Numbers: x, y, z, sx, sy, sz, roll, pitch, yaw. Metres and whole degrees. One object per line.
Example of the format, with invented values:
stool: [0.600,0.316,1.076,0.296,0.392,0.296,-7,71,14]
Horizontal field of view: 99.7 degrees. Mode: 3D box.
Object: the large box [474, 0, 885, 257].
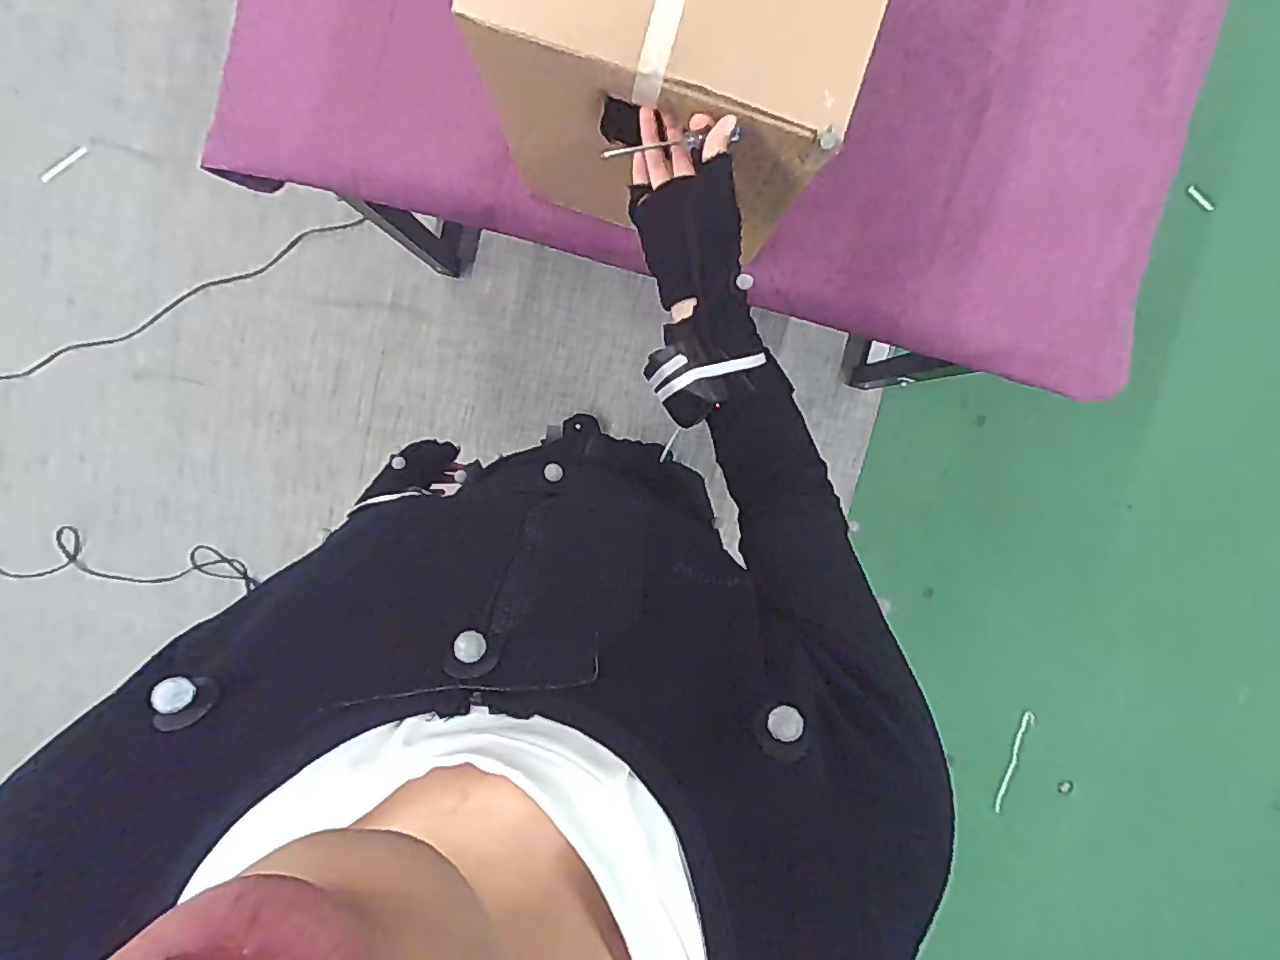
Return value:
large box: [0.064,-0.515,0.561,0.320,0.320,0.408,17,95,-3]
